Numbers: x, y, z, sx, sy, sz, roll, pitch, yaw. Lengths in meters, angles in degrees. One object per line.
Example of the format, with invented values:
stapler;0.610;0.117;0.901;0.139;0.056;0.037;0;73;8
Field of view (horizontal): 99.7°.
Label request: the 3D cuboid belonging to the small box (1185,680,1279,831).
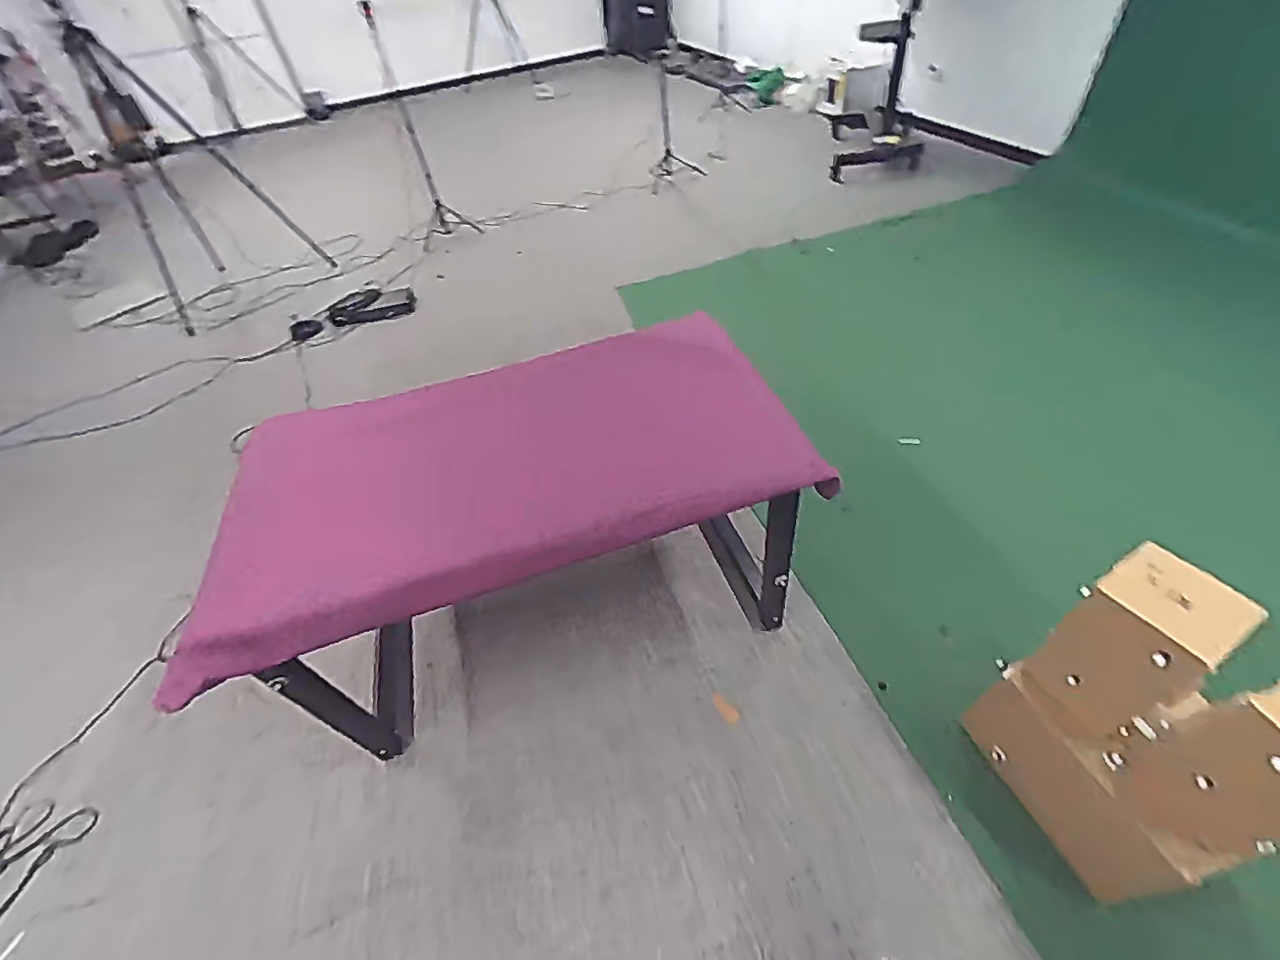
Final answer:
small box;0.984;0.399;0.787;0.168;0.176;0.179;-18;45;-6
